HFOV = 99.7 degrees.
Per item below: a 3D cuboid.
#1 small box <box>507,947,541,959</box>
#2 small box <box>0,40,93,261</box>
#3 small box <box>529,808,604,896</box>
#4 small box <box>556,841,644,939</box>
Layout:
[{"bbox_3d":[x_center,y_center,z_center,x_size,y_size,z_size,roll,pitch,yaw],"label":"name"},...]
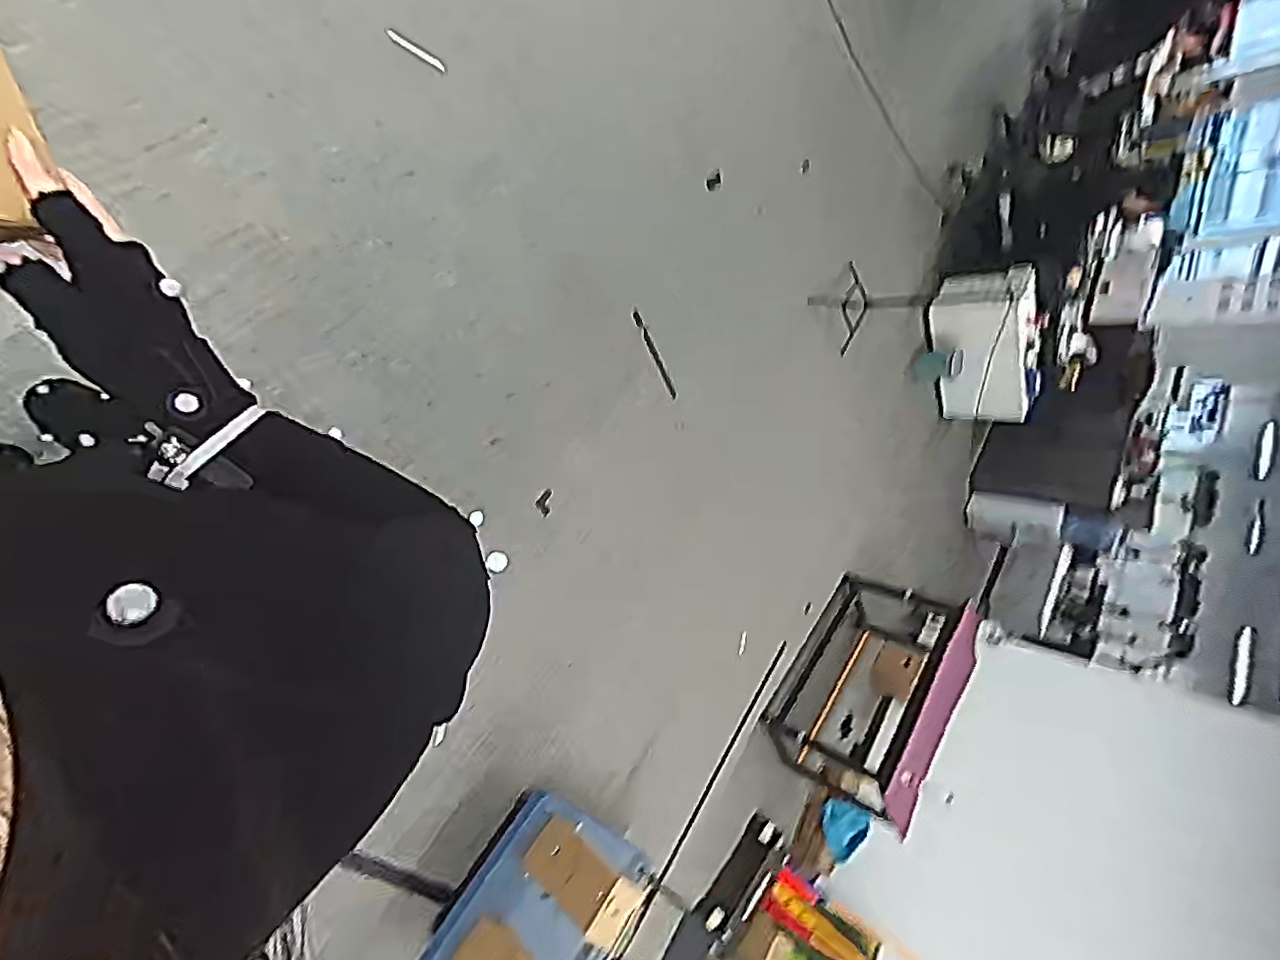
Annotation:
[{"bbox_3d":[-0.325,1.480,1.524,0.179,0.176,0.168,-46,128,-27],"label":"small box"},{"bbox_3d":[-0.447,-0.190,0.249,0.179,0.168,0.176,-81,164,-68],"label":"small box"},{"bbox_3d":[-0.243,1.238,1.785,0.179,0.176,0.168,-49,129,-27],"label":"small box"},{"bbox_3d":[-0.125,1.262,1.673,0.168,0.176,0.179,-51,131,-25],"label":"small box"}]
